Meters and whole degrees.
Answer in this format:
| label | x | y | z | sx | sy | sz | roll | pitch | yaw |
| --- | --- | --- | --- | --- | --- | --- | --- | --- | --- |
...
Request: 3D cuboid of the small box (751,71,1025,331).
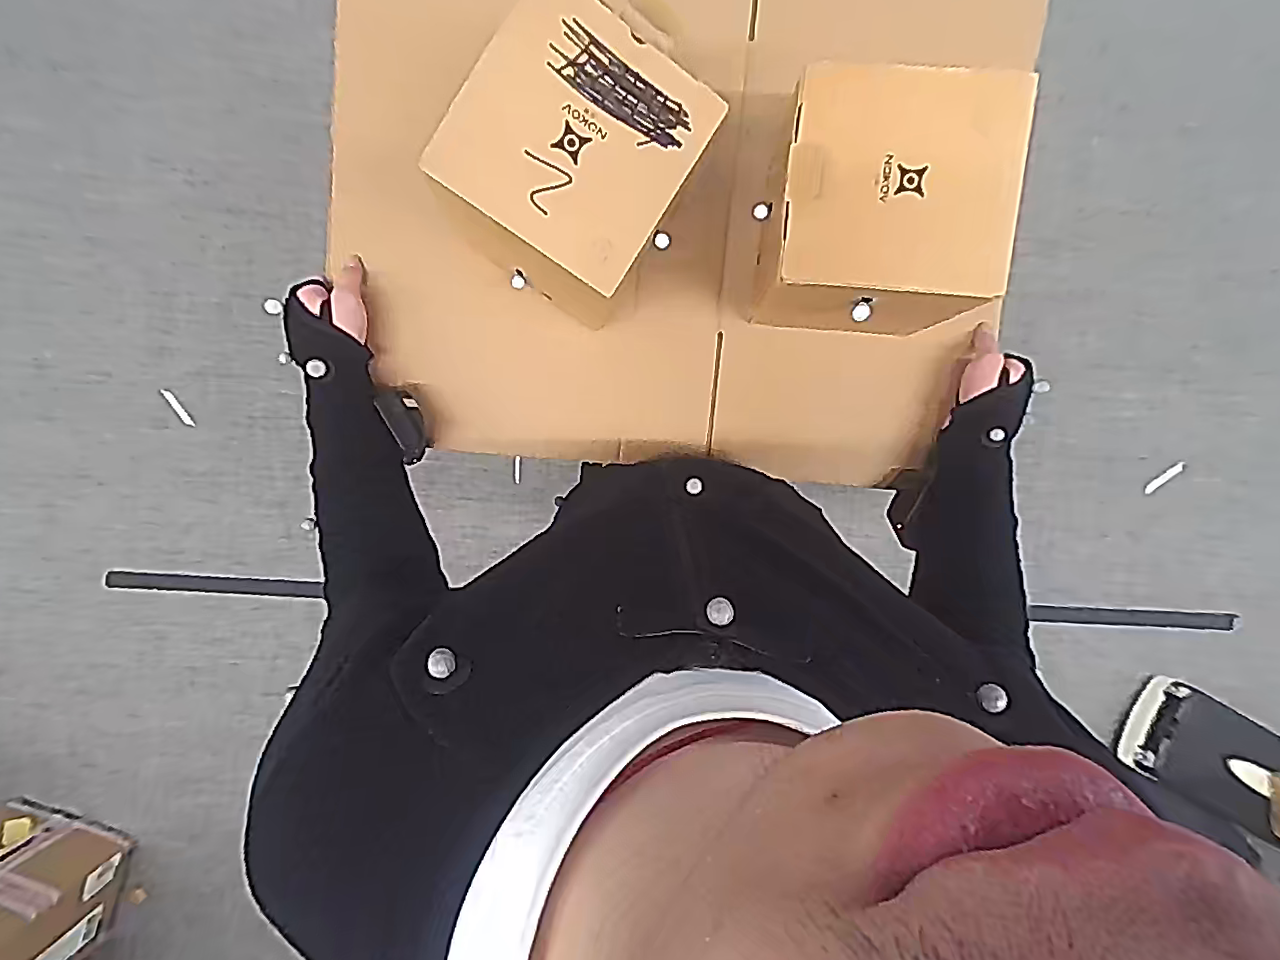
| label | x | y | z | sx | sy | sz | roll | pitch | yaw |
| --- | --- | --- | --- | --- | --- | --- | --- | --- | --- |
| small box | 0.211 | -0.241 | 0.510 | 0.179 | 0.176 | 0.168 | 5 | 95 | 4 |
